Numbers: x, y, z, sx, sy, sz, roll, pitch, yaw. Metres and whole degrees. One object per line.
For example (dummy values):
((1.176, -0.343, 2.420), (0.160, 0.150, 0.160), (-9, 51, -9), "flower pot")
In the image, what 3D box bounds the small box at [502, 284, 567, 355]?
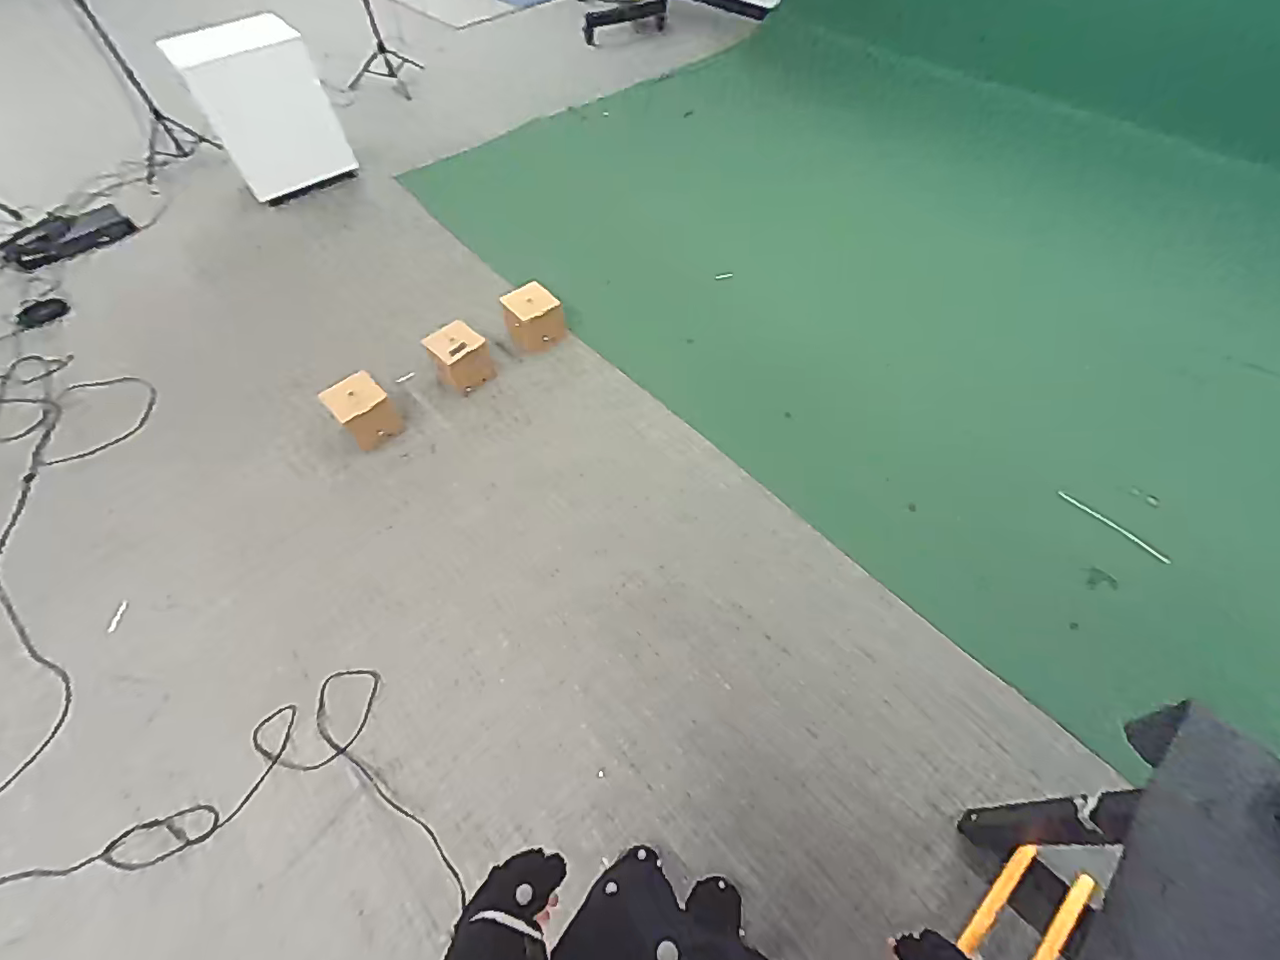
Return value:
((-0.403, -0.615, 2.087), (0.168, 0.176, 0.179), (-36, 63, -20), "small box")

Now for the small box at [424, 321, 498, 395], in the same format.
((-0.645, -0.436, 1.968), (0.179, 0.176, 0.168), (38, 64, 24), "small box")

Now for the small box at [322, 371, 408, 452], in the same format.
((-0.925, -0.228, 1.830), (0.168, 0.176, 0.179), (-39, 64, -21), "small box")
